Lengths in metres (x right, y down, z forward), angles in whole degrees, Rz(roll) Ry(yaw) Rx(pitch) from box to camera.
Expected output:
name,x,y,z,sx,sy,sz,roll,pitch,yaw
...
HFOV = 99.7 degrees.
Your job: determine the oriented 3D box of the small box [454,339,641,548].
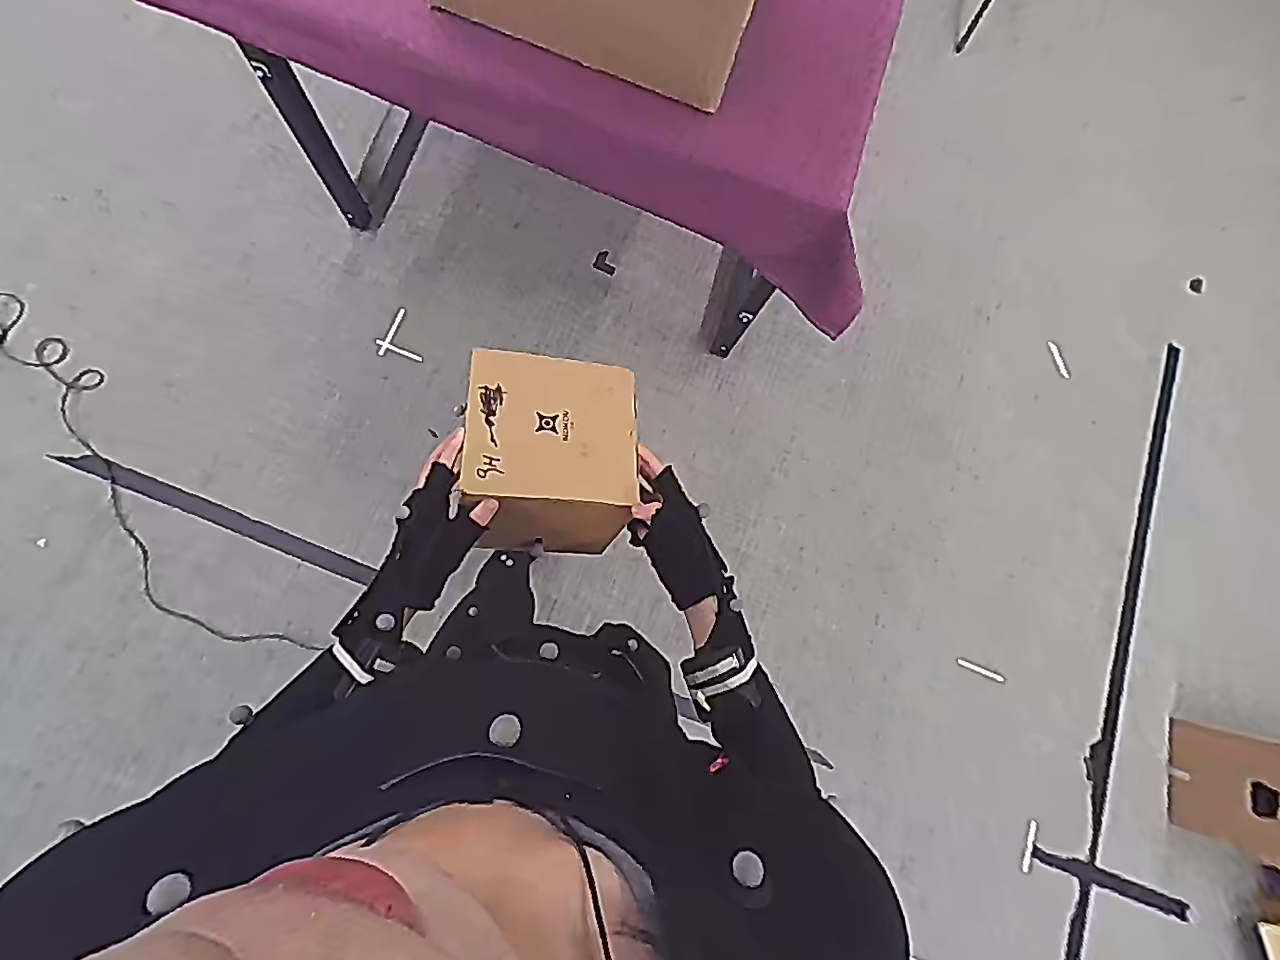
name,x,y,z,sx,sy,sz,roll,pitch,yaw
small box,-0.109,-0.029,0.609,0.179,0.176,0.168,6,62,-17
